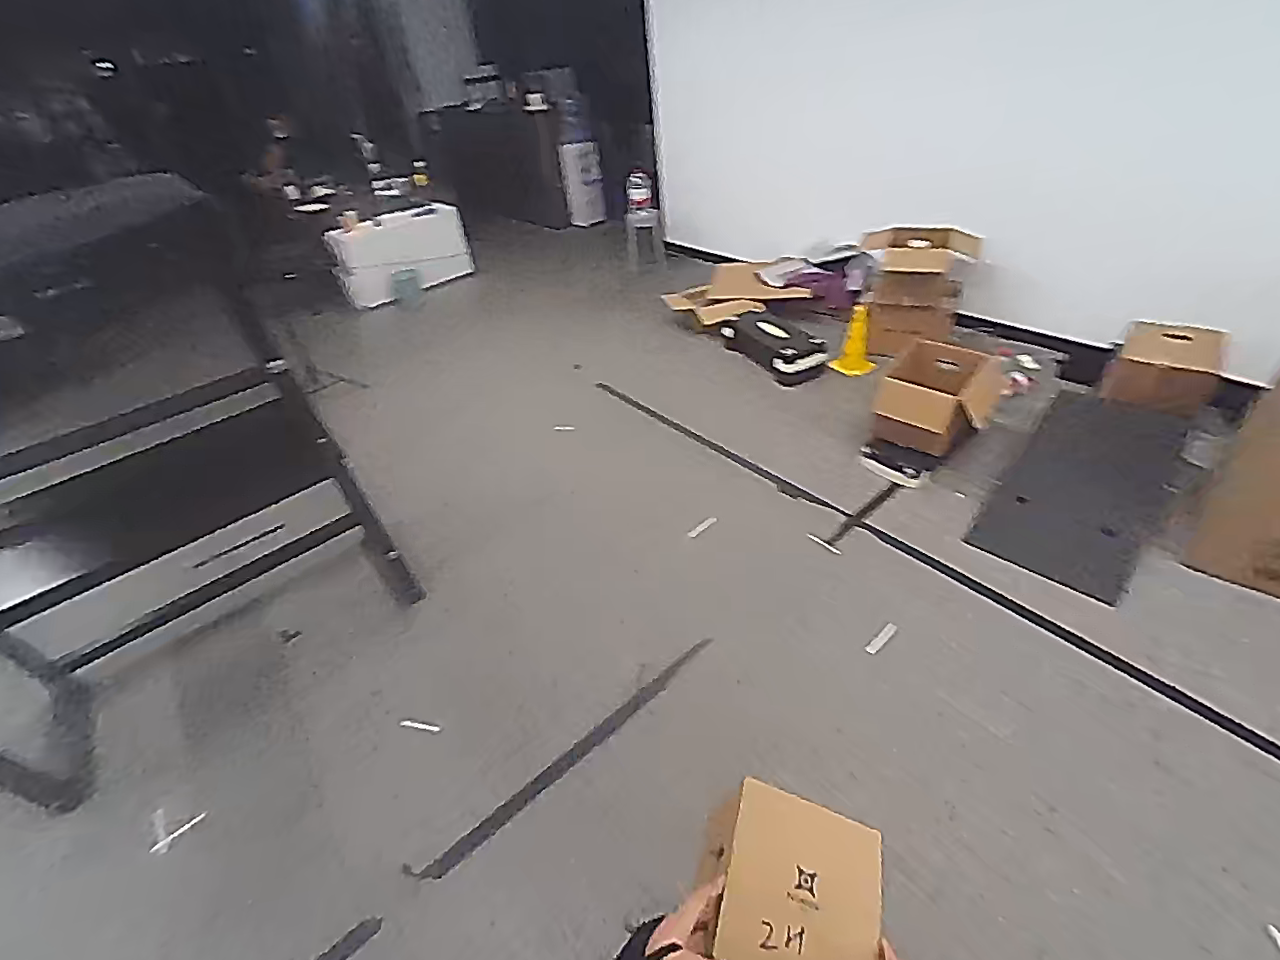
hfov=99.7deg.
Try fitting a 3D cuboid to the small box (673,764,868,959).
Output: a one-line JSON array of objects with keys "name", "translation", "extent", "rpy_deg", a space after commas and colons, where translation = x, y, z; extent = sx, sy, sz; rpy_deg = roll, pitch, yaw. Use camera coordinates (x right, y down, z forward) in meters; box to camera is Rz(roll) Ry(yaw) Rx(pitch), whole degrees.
[{"name": "small box", "translation": [0.147, 0.474, 0.632], "extent": [0.168, 0.176, 0.179], "rpy_deg": [20, 46, 6]}]
